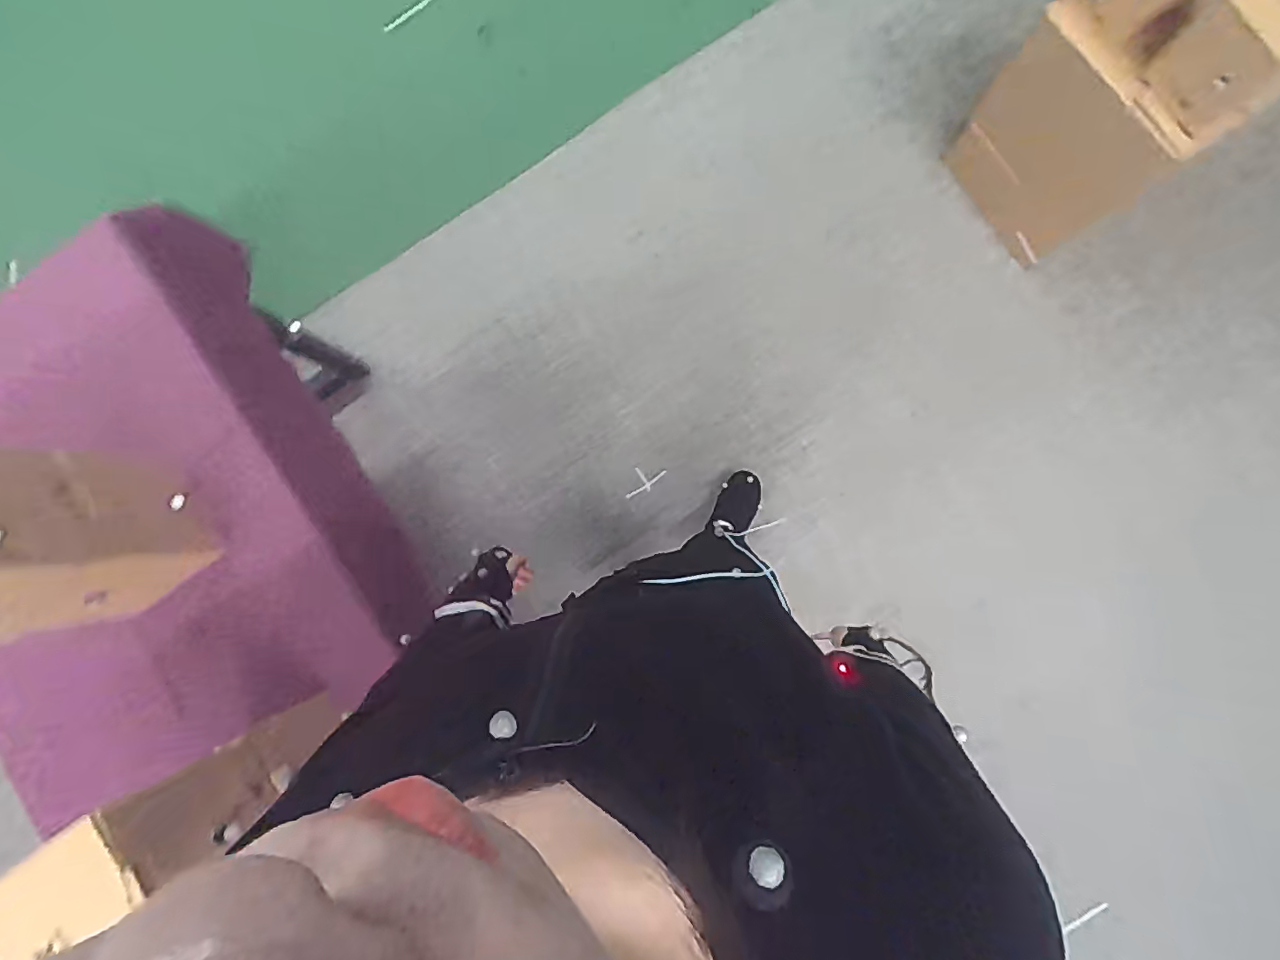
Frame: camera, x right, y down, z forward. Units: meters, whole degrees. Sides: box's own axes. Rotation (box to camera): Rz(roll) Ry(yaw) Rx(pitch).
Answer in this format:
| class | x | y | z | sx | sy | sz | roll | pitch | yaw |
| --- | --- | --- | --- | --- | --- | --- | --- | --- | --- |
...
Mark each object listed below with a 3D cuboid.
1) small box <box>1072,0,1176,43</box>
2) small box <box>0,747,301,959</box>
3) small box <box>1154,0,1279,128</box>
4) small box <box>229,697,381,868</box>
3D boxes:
| class | x | y | z | sx | sy | sz | roll | pitch | yaw |
| --- | --- | --- | --- | --- | --- | --- | --- | --- | --- |
| small box | 0.942 | -0.969 | 0.984 | 0.179 | 0.176 | 0.168 | -35 | 85 | 3 |
| small box | -0.493 | 0.414 | 0.554 | 0.179 | 0.176 | 0.168 | -36 | 84 | 1 |
| small box | 1.081 | -0.779 | 0.958 | 0.179 | 0.176 | 0.168 | -30 | 83 | 0 |
| small box | -0.480 | 0.423 | 0.718 | 0.179 | 0.176 | 0.168 | -38 | 84 | 2 |
